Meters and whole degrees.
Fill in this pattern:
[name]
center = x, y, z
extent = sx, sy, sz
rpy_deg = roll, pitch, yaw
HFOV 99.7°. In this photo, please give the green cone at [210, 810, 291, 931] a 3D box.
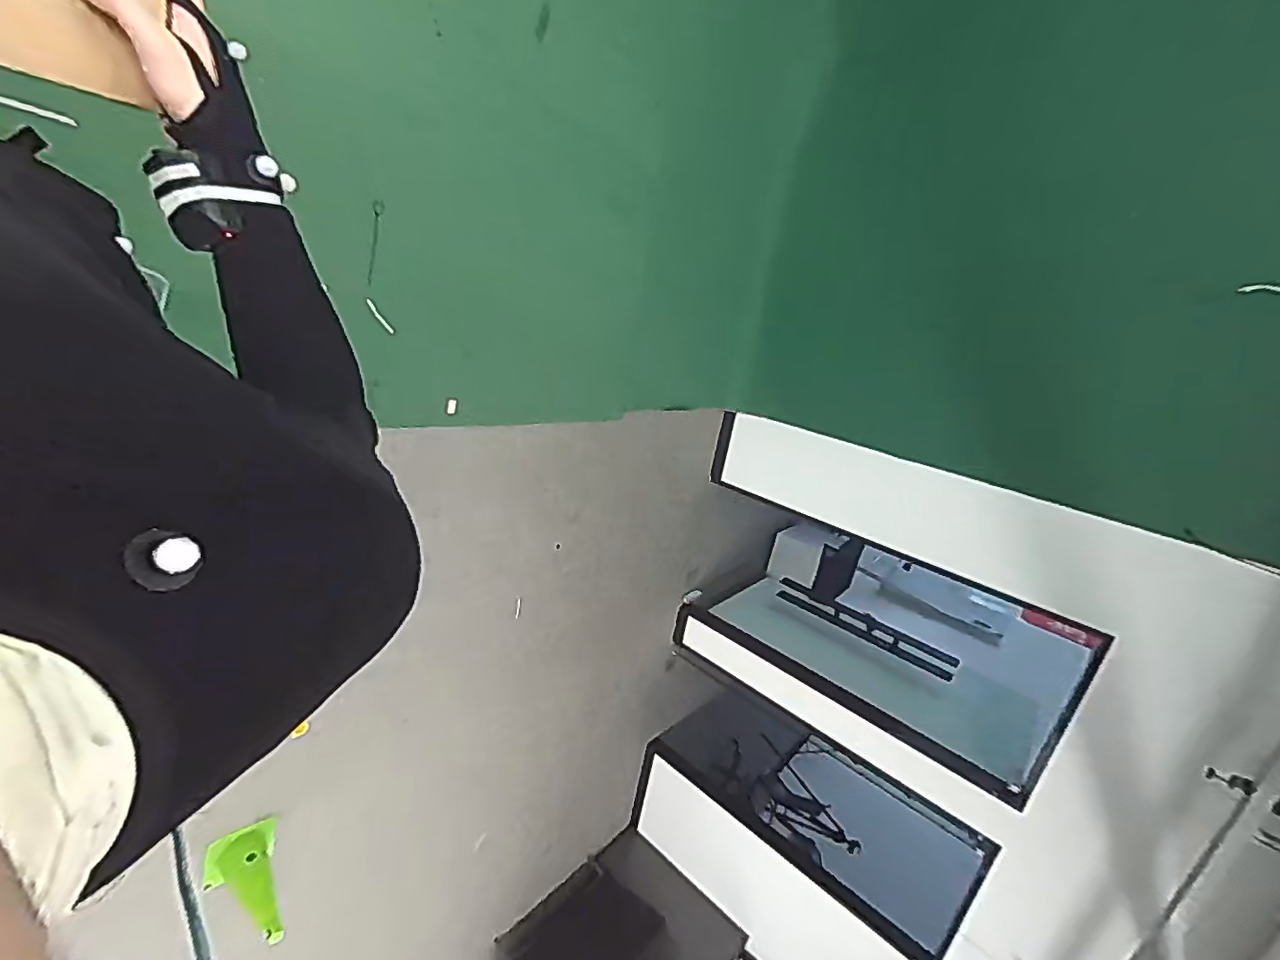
[green cone]
center = -1.221, 1.307, 1.756
extent = 0.200, 0.368, 0.202
rpy_deg = -2, 110, -52
